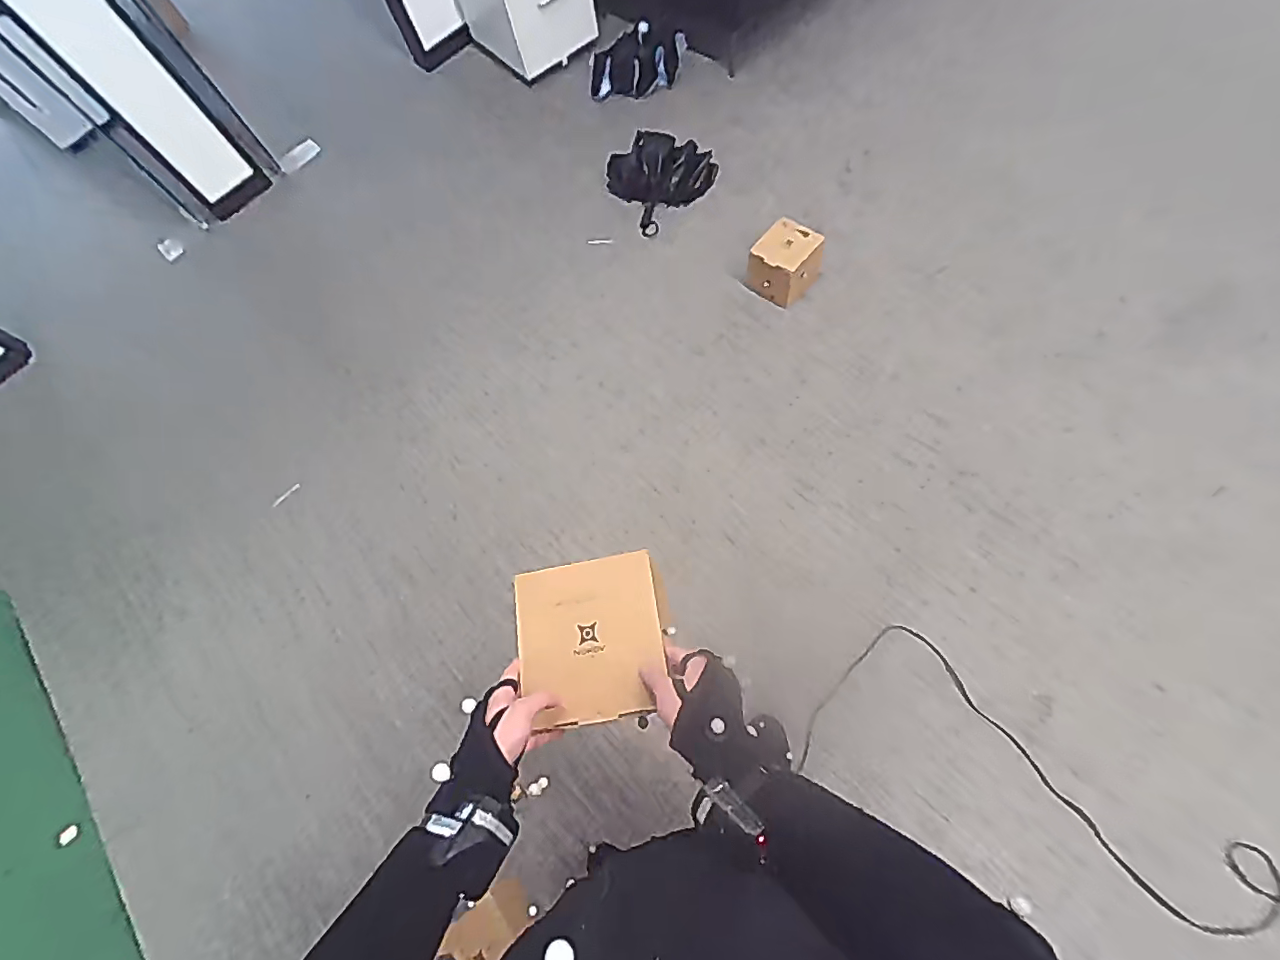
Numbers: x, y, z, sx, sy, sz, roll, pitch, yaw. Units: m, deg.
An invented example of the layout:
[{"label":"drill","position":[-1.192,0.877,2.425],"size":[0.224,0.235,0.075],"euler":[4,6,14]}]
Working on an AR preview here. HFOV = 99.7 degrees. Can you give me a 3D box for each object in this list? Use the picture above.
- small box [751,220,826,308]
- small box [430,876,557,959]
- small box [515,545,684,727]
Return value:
[{"label":"small box","position":[0.479,-0.697,1.760],"size":[0.168,0.176,0.179],"euler":[38,79,22]},{"label":"small box","position":[-0.308,1.007,1.166],"size":[0.179,0.176,0.168],"euler":[-39,66,-9]},{"label":"small box","position":[-0.044,0.199,0.676],"size":[0.168,0.176,0.179],"euler":[-12,65,6]}]
